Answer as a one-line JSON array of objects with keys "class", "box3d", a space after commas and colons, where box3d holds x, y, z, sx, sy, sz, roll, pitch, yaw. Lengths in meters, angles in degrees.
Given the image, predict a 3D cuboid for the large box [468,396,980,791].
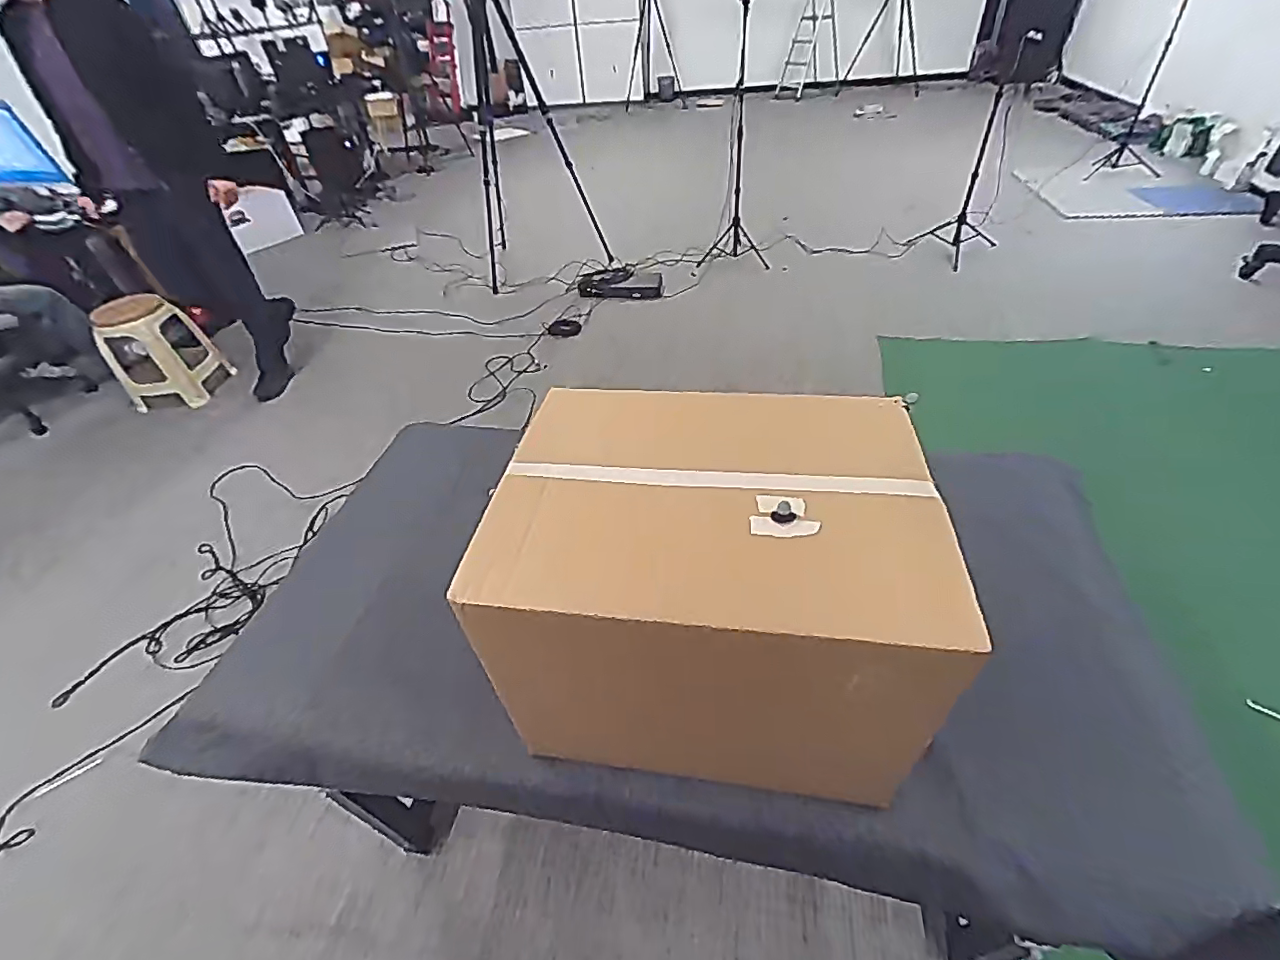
[{"class": "large box", "box3d": [0.078, 0.118, 0.623, 0.408, 0.320, 0.320, 4, 43, 8]}]
